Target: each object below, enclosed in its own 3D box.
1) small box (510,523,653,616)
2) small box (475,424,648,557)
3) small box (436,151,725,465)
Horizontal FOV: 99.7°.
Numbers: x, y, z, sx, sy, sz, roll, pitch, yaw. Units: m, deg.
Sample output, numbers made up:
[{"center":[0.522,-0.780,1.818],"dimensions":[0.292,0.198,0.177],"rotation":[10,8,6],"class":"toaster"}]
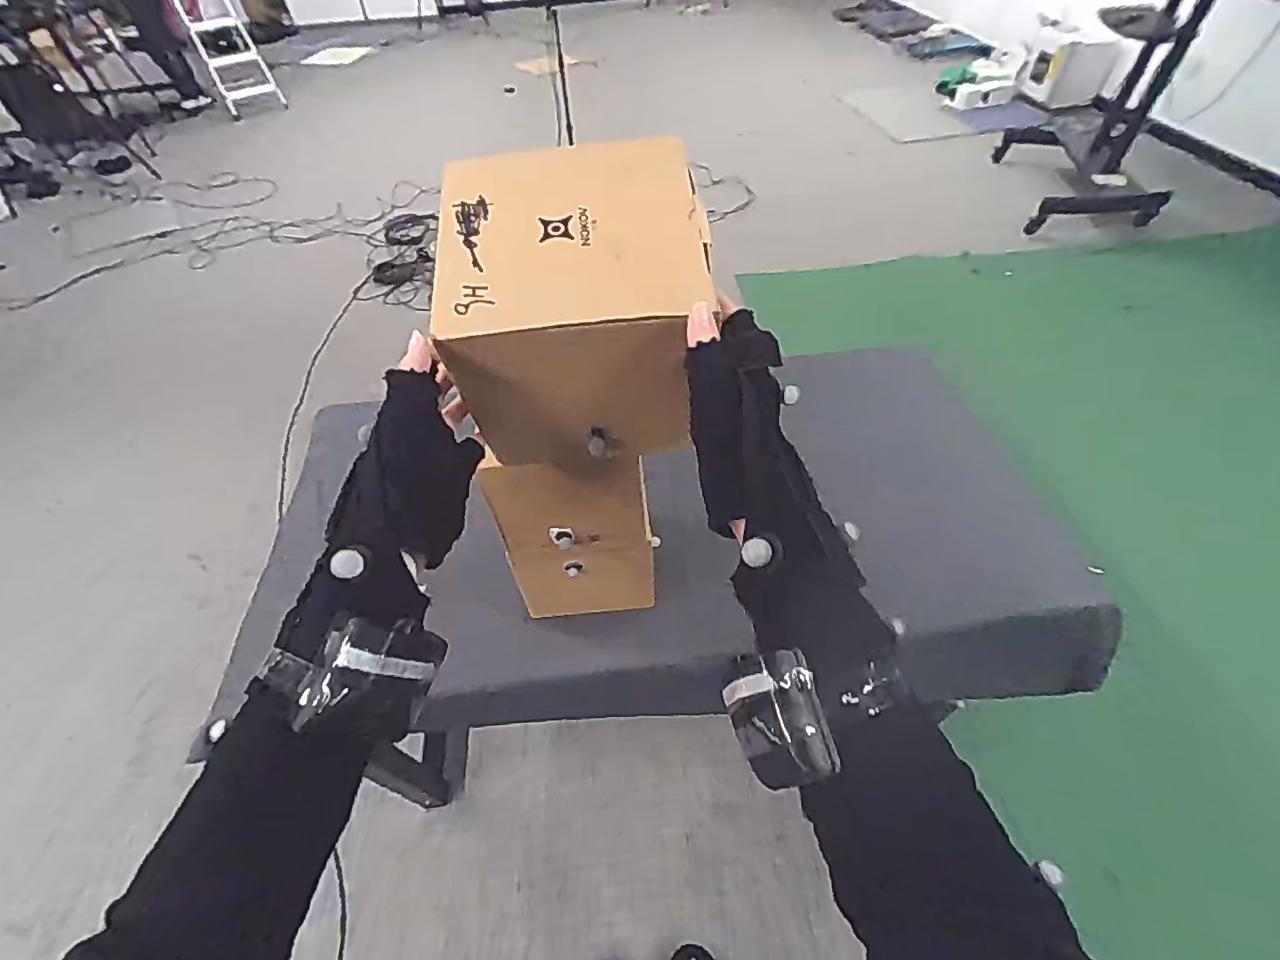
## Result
[{"center":[-0.076,0.082,0.775],"dimensions":[0.179,0.176,0.168],"rotation":[-5,50,-2],"class":"small box"},{"center":[-0.083,-0.032,0.638],"dimensions":[0.168,0.176,0.179],"rotation":[-7,51,-1],"class":"small box"},{"center":[-0.041,-0.125,0.428],"dimensions":[0.179,0.176,0.168],"rotation":[-5,63,-2],"class":"small box"}]
